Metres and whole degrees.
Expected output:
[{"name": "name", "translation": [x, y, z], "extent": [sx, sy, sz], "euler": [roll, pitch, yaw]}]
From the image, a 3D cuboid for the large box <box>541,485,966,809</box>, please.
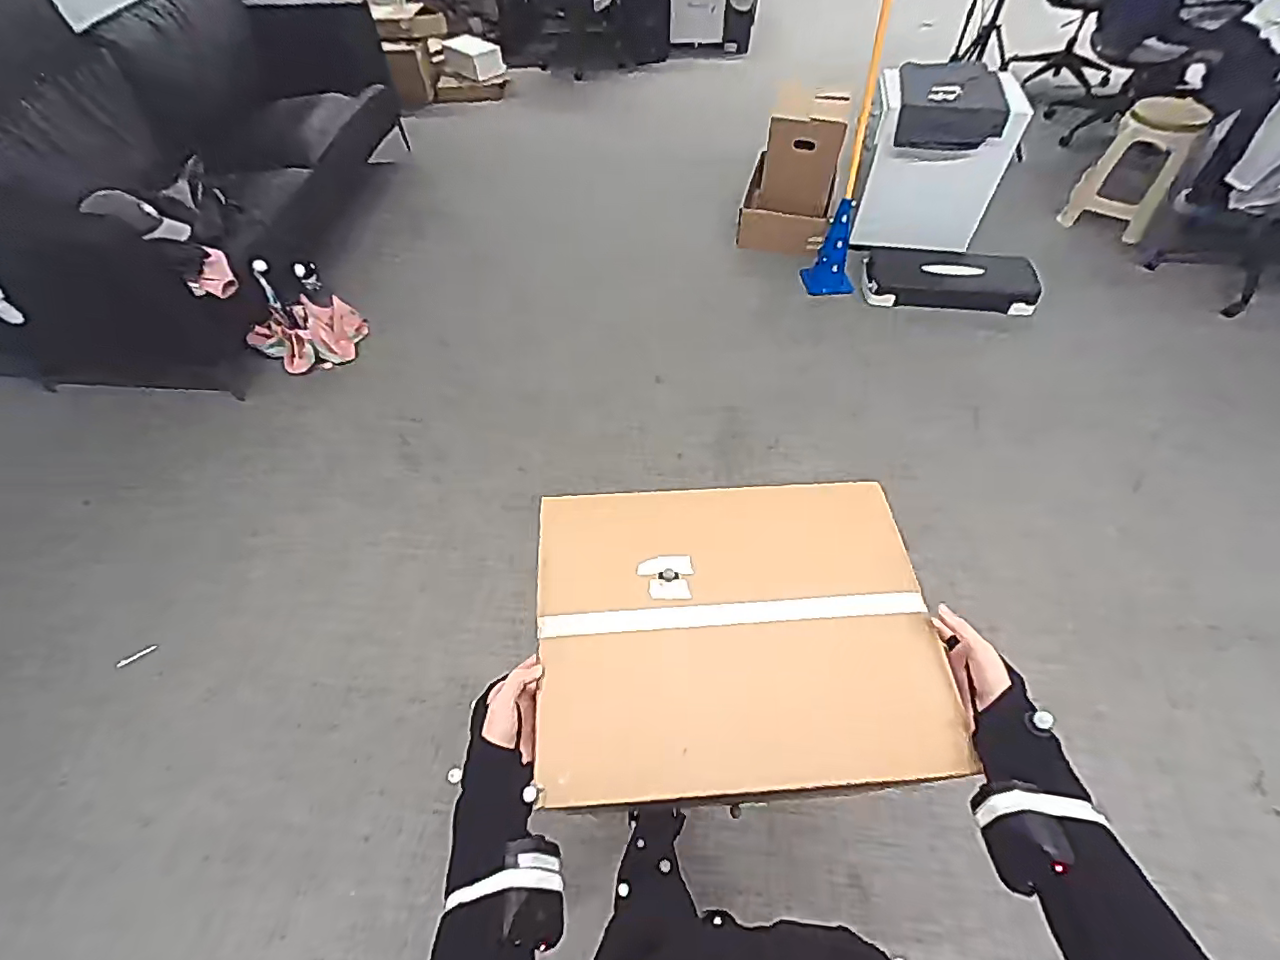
[{"name": "large box", "translation": [0.098, 0.227, 0.697], "extent": [0.408, 0.320, 0.320], "euler": [-3, 57, -2]}]
